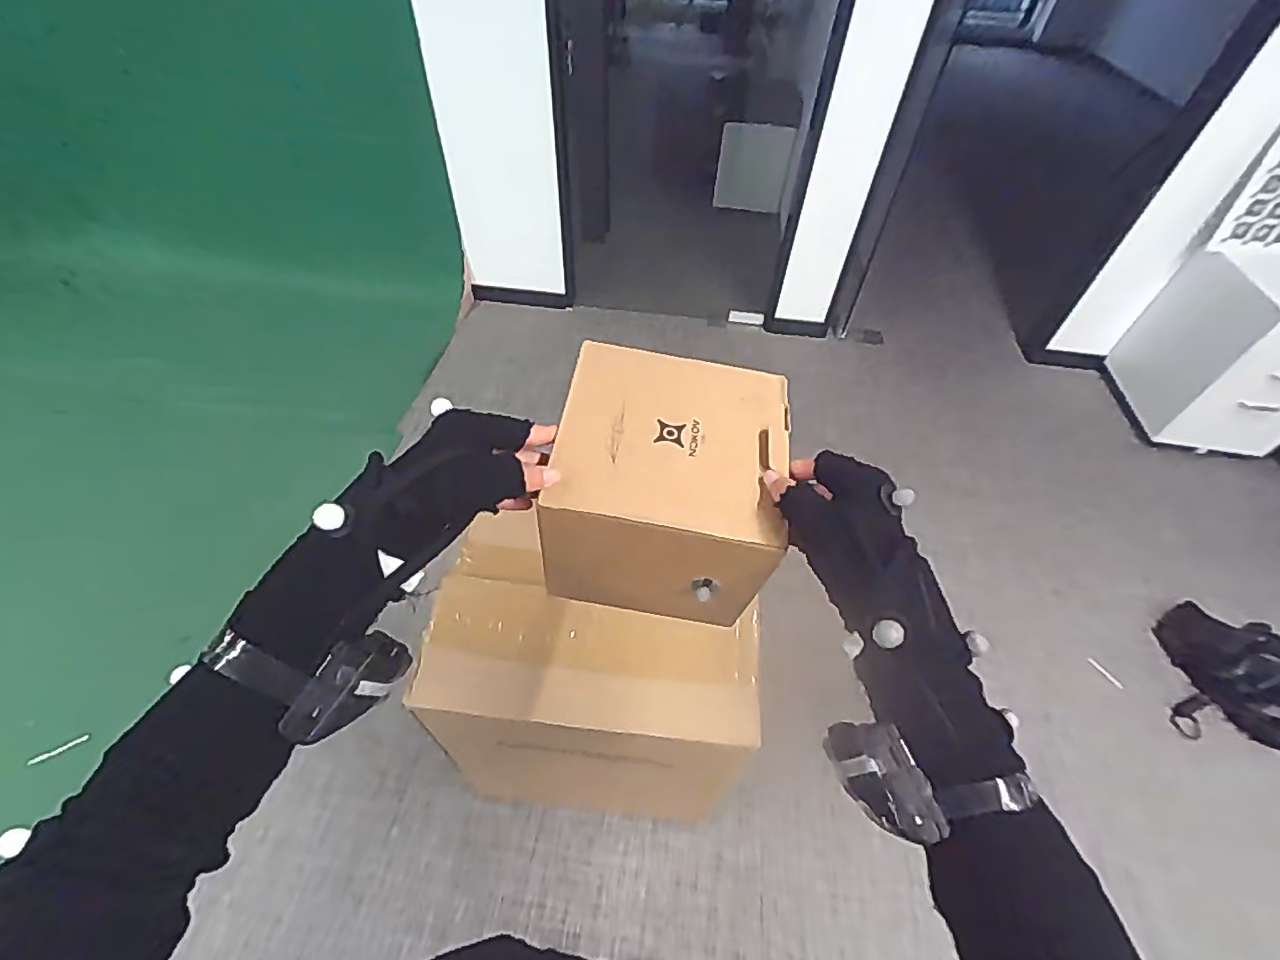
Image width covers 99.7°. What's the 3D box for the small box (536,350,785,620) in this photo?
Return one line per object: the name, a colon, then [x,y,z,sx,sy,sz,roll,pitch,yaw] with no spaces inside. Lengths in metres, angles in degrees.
small box: [0.018,0.013,0.480,0.179,0.176,0.168,7,55,1]
